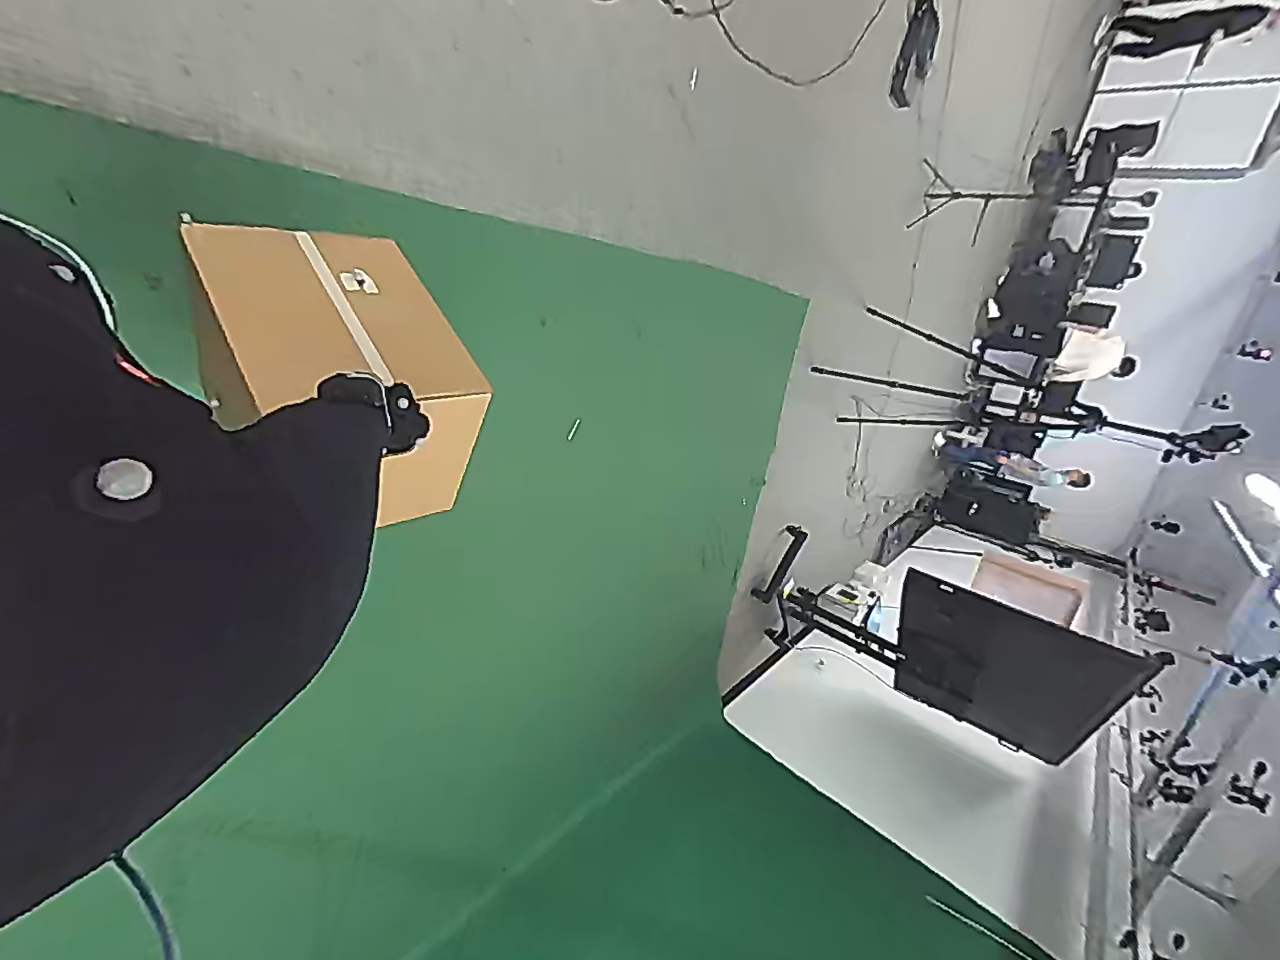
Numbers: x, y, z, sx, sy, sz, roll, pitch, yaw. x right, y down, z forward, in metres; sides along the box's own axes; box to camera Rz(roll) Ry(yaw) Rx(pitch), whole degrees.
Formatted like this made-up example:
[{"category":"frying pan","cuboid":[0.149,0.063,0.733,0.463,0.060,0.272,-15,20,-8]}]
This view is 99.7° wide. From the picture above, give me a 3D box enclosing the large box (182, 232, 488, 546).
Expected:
[{"category":"large box","cuboid":[-0.524,-0.162,0.934,0.320,0.408,0.320,-16,151,-43]}]
